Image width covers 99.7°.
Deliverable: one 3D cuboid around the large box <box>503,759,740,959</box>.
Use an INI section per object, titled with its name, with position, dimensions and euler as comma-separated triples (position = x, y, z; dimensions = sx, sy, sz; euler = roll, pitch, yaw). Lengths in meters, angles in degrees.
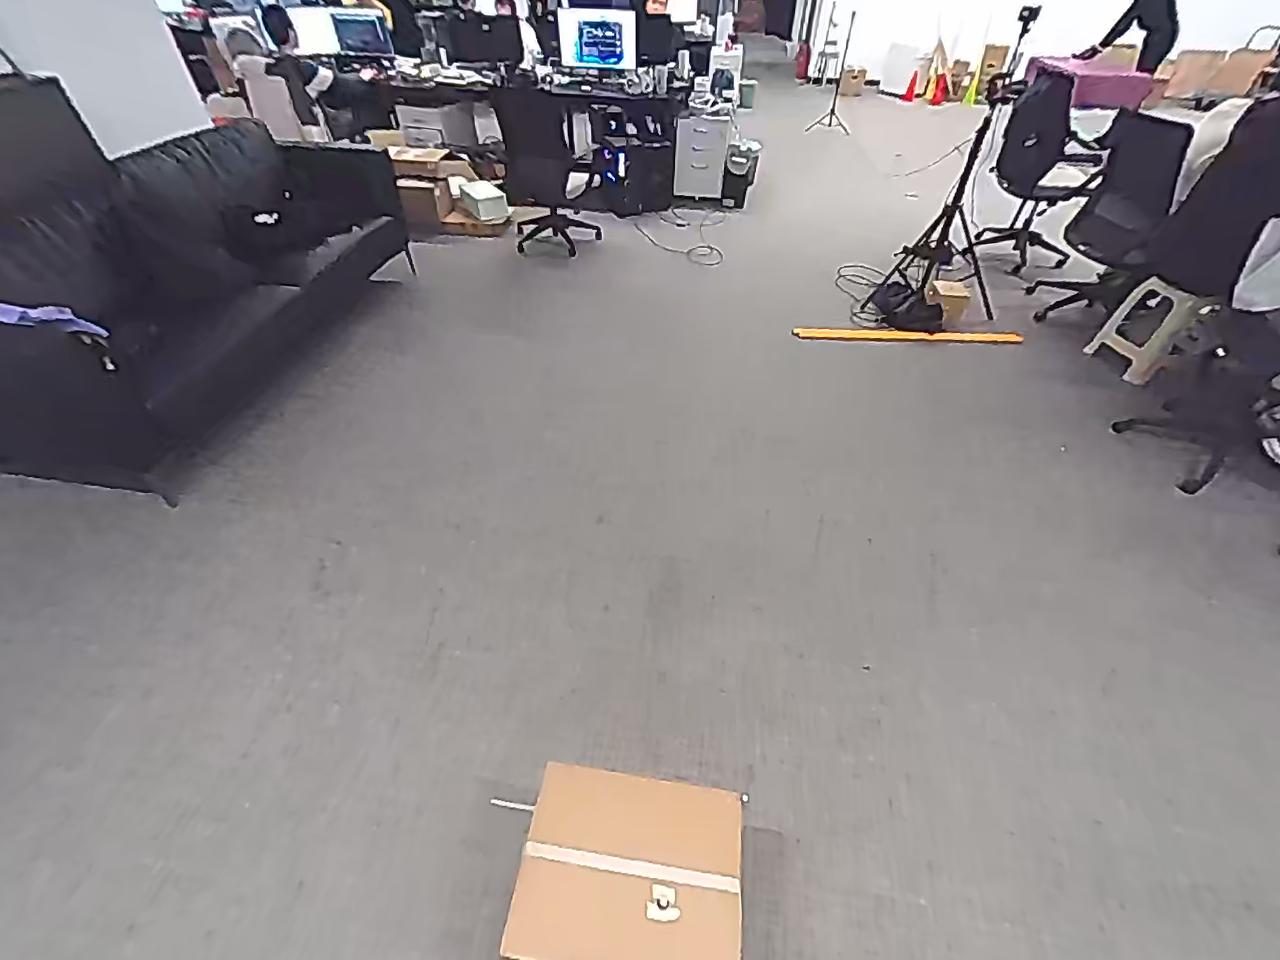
[large box]
position = -0.020, 0.812, 1.102
dimensions = 0.408, 0.320, 0.320
euler = 7, 45, 6
